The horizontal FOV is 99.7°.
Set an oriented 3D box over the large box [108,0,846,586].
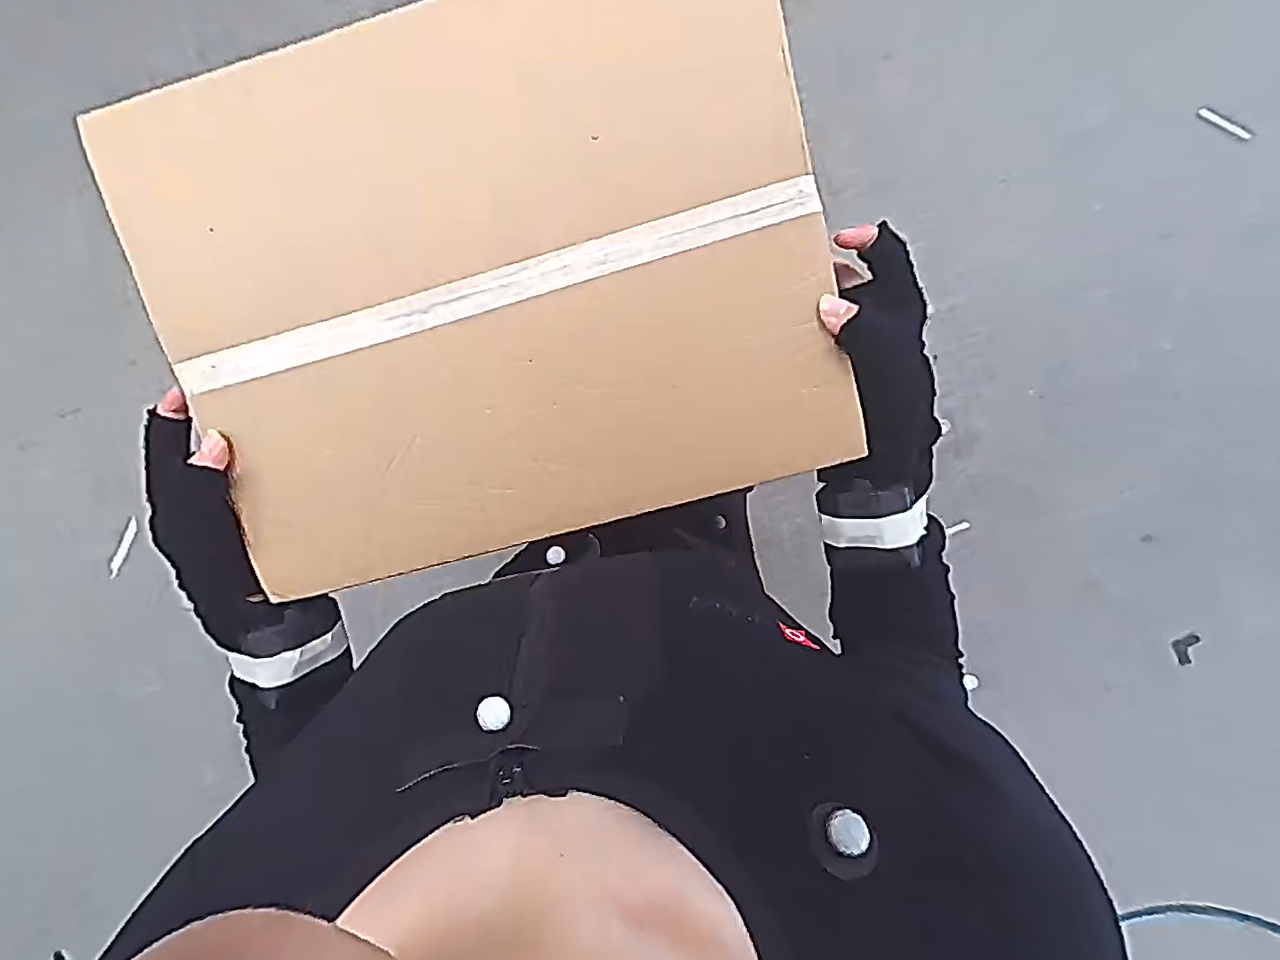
[{"bbox_3d":[-0.090,-0.148,0.484,0.408,0.320,0.320,-14,99,5],"label":"large box"}]
